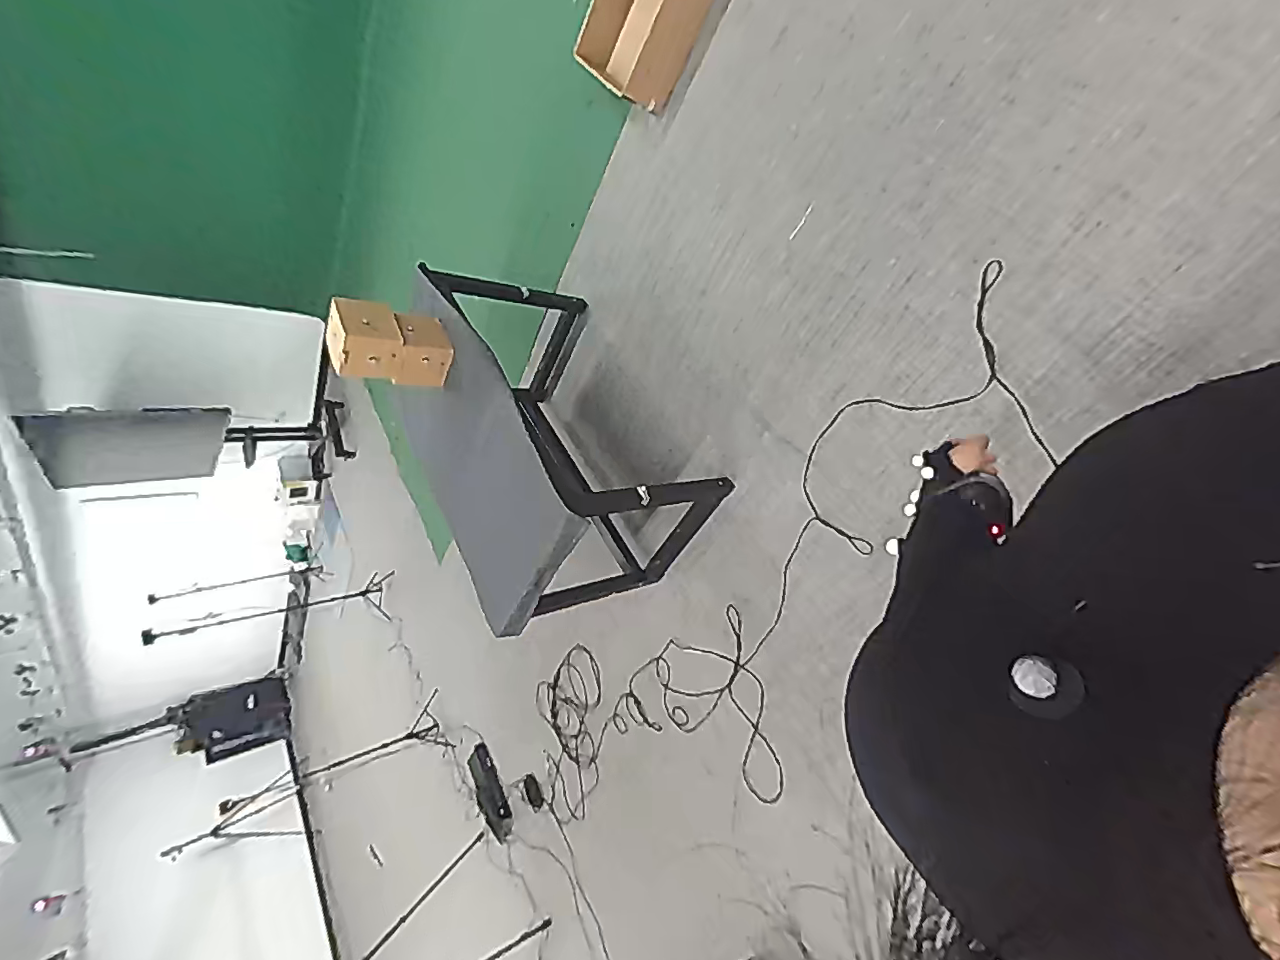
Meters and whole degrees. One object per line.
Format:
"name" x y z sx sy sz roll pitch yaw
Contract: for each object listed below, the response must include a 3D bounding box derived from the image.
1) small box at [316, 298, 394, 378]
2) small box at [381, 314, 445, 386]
"small box" -0.886 -0.437 1.684 0.168 0.176 0.179 -50 60 37
"small box" -0.769 -0.430 1.800 0.168 0.176 0.179 -53 57 36
